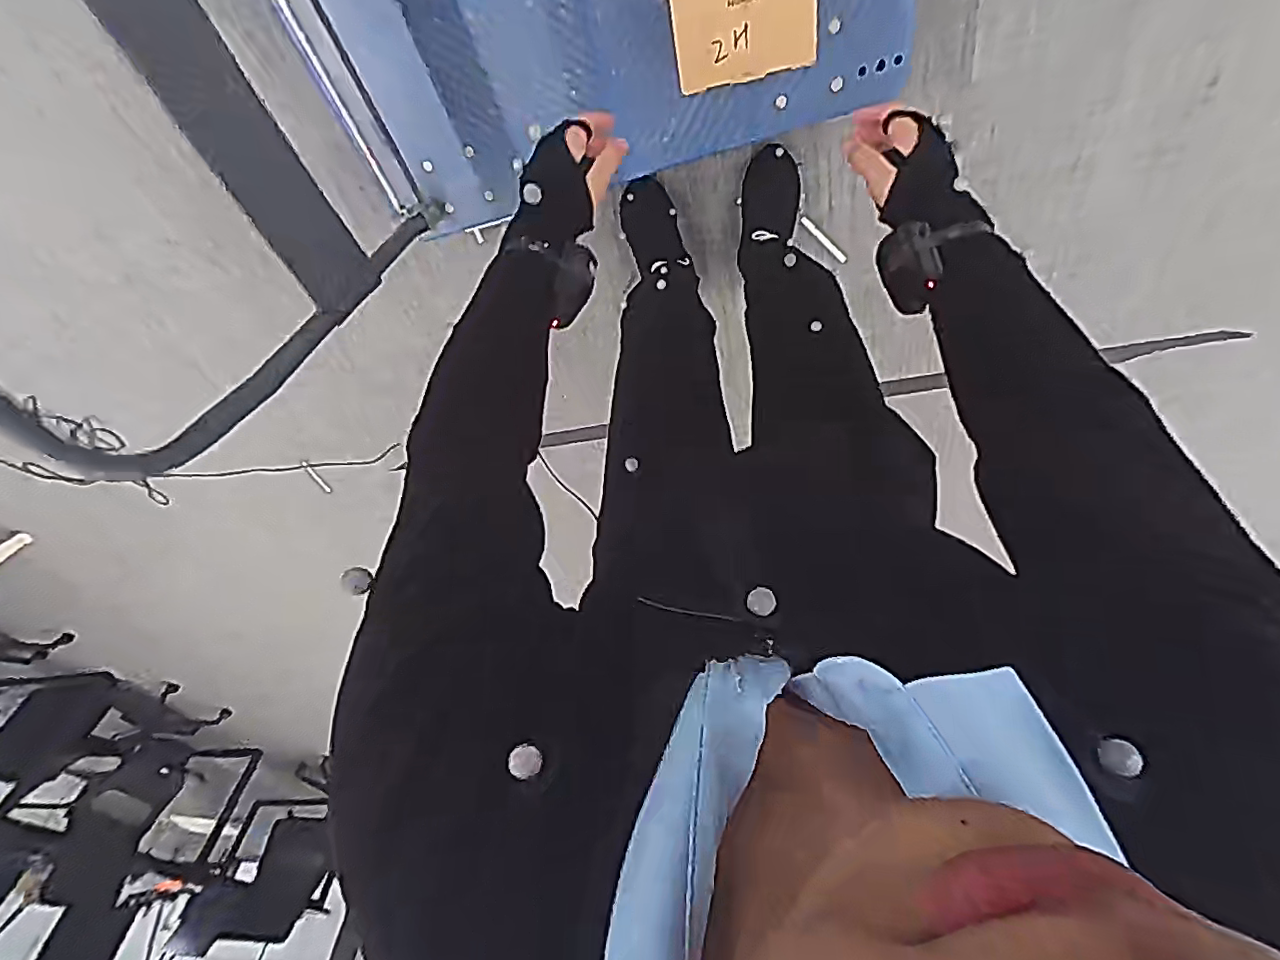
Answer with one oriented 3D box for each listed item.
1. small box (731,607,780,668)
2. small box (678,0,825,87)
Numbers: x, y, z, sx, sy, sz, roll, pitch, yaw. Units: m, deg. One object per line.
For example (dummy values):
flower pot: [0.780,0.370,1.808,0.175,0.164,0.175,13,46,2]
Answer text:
small box: [0.453,0.619,2.124,0.168,0.176,0.179,-10,133,14]
small box: [0.128,-0.613,0.658,0.168,0.176,0.179,-6,134,12]
